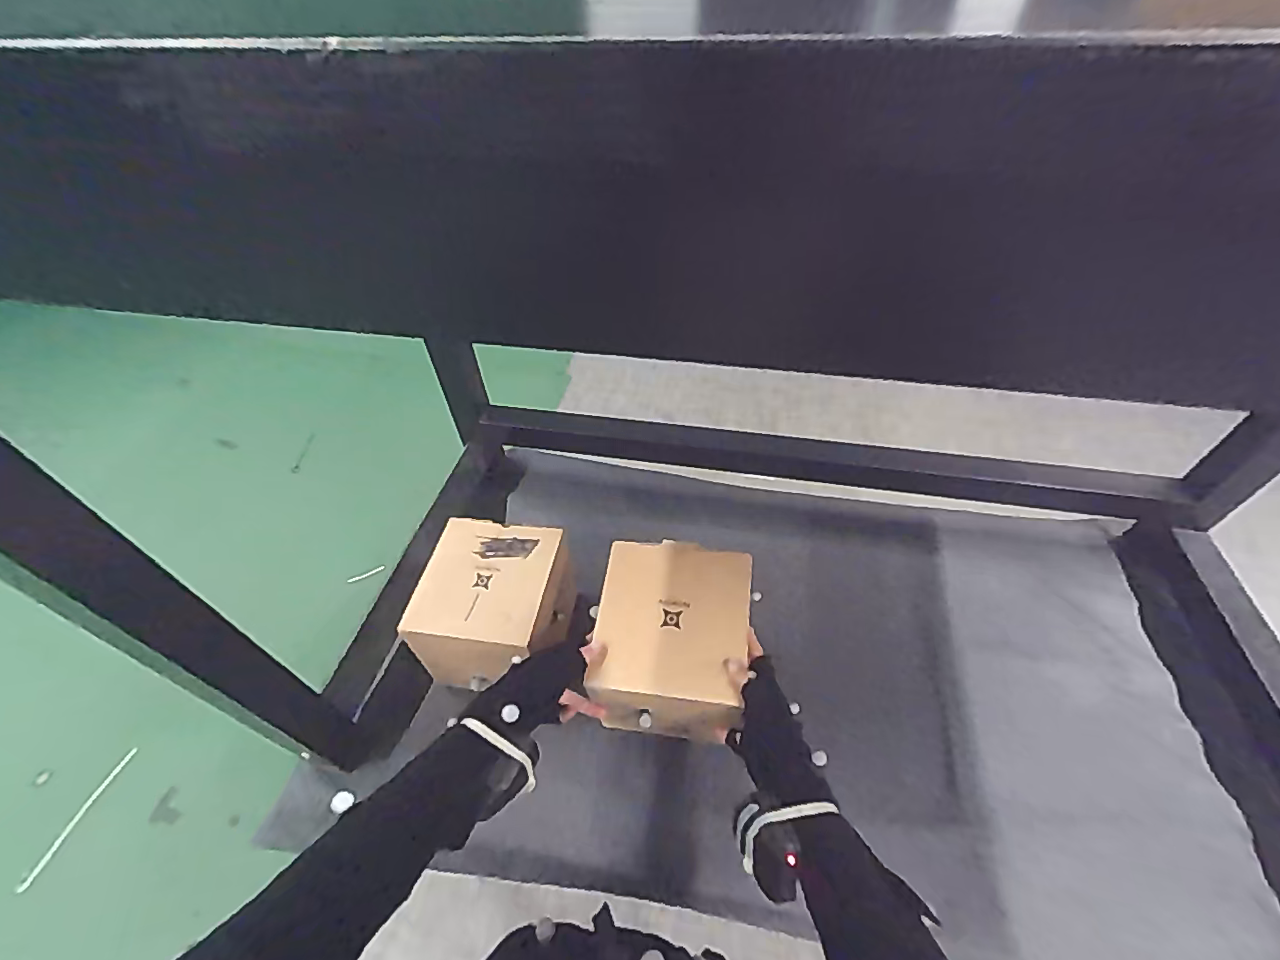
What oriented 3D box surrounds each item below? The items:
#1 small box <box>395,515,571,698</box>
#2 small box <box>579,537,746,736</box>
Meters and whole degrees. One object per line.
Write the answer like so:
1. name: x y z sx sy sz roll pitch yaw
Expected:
1. small box: -0.199 0.175 0.750 0.168 0.176 0.179 6 48 8
2. small box: 0.037 0.190 0.649 0.168 0.176 0.179 4 52 9
